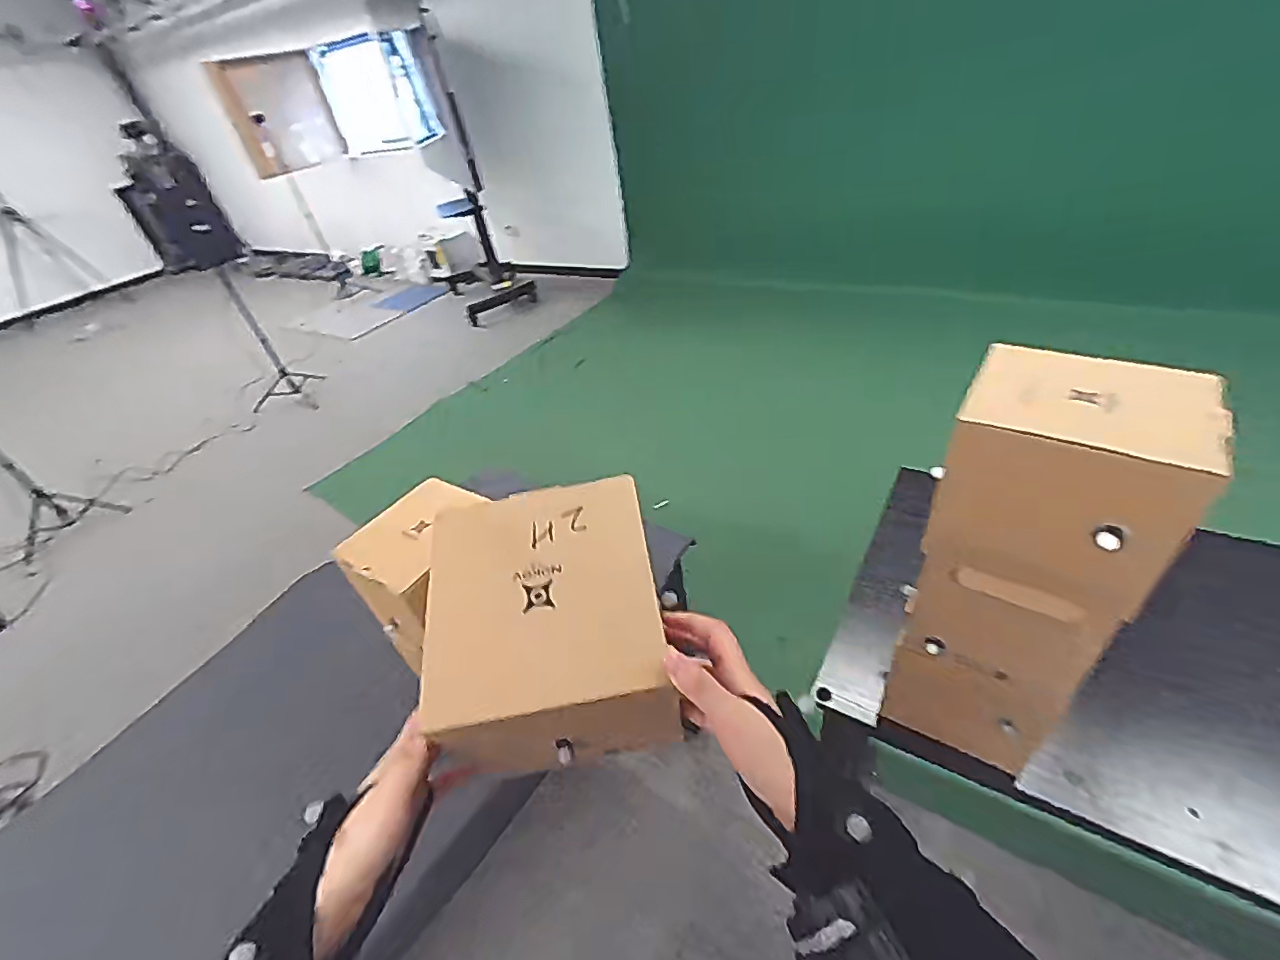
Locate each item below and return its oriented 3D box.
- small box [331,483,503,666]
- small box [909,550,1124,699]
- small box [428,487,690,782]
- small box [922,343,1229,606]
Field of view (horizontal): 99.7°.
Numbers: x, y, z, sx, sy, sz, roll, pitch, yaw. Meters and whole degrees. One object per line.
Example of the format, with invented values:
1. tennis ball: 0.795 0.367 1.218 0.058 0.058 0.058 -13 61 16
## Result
1. small box: -0.282 0.135 0.768 0.168 0.176 0.179 15 46 32
2. small box: 0.424 0.112 0.620 0.168 0.176 0.179 19 46 31
3. small box: -0.056 0.135 0.447 0.168 0.176 0.179 -11 52 -1
4. small box: 0.396 -0.008 0.515 0.179 0.176 0.168 19 45 32
